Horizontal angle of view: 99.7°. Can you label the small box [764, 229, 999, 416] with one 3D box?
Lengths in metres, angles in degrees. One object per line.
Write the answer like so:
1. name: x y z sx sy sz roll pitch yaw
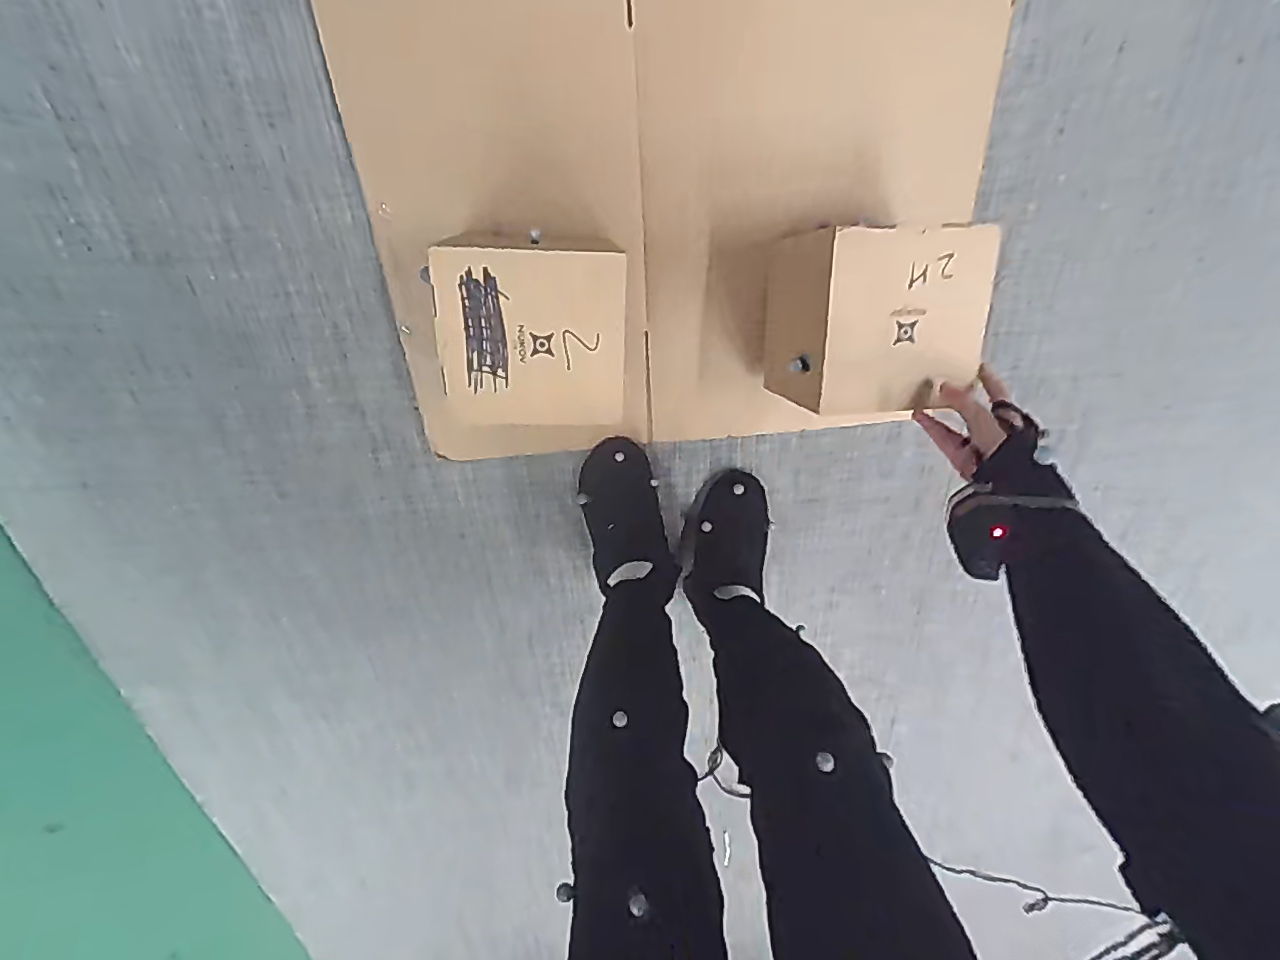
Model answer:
1. small box: 0.246 -0.176 0.601 0.168 0.176 0.179 -3 110 -7
